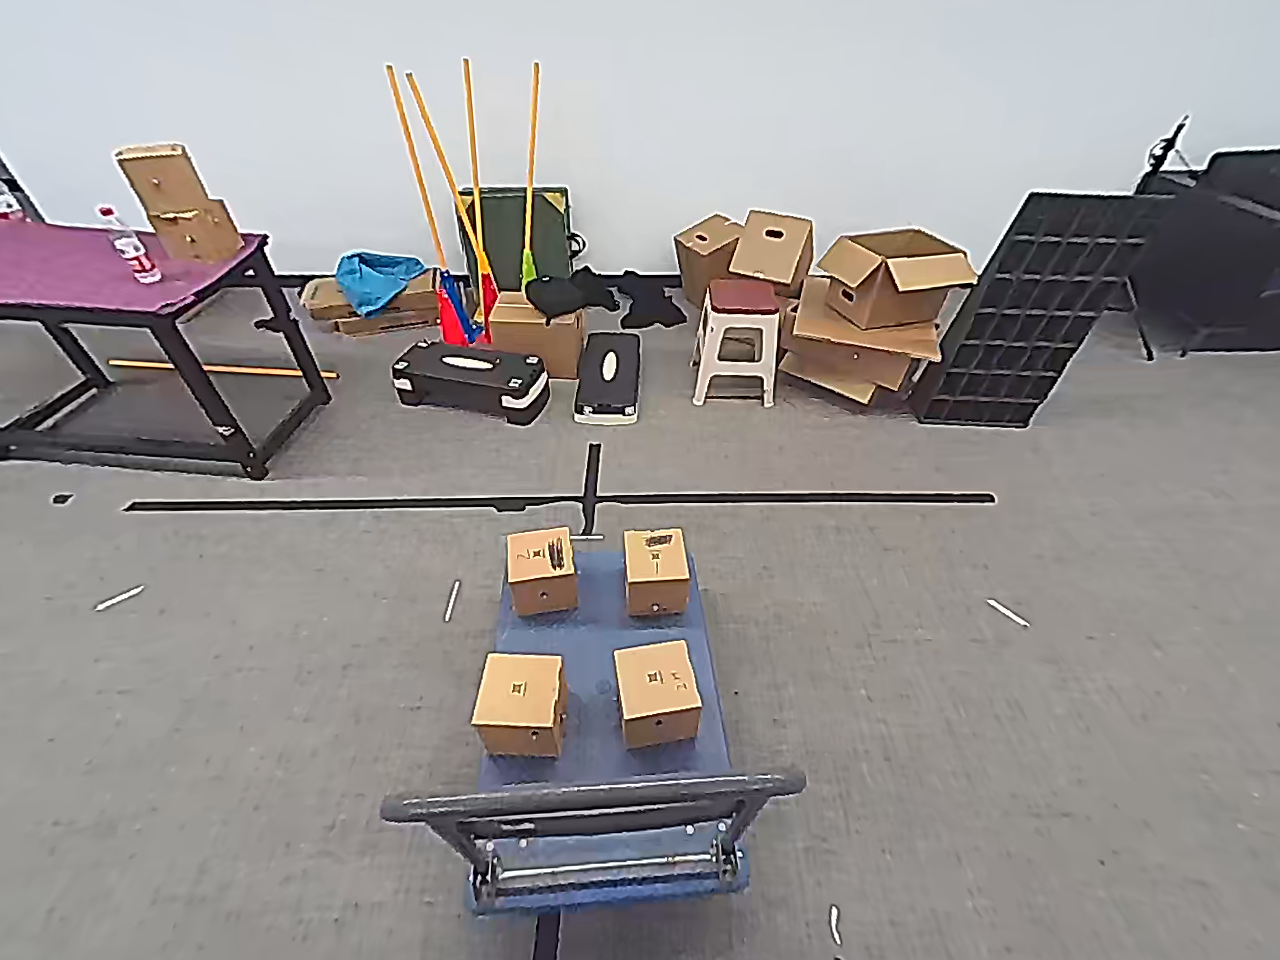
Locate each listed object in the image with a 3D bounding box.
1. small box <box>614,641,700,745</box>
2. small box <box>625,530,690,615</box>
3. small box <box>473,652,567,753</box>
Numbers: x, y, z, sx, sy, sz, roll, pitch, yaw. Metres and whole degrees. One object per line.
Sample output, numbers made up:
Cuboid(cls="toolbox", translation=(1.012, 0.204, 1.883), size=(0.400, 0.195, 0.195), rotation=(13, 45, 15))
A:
Cuboid(cls="small box", translation=(0.035, 0.507, 1.281), size=(0.179, 0.176, 0.168), rotation=(-6, 44, -7))
Cuboid(cls="small box", translation=(0.044, 0.263, 1.536), size=(0.168, 0.176, 0.179), rotation=(-2, 45, -3))
Cuboid(cls="small box", translation=(-0.270, 0.521, 1.262), size=(0.179, 0.176, 0.168), rotation=(3, 44, 0))
